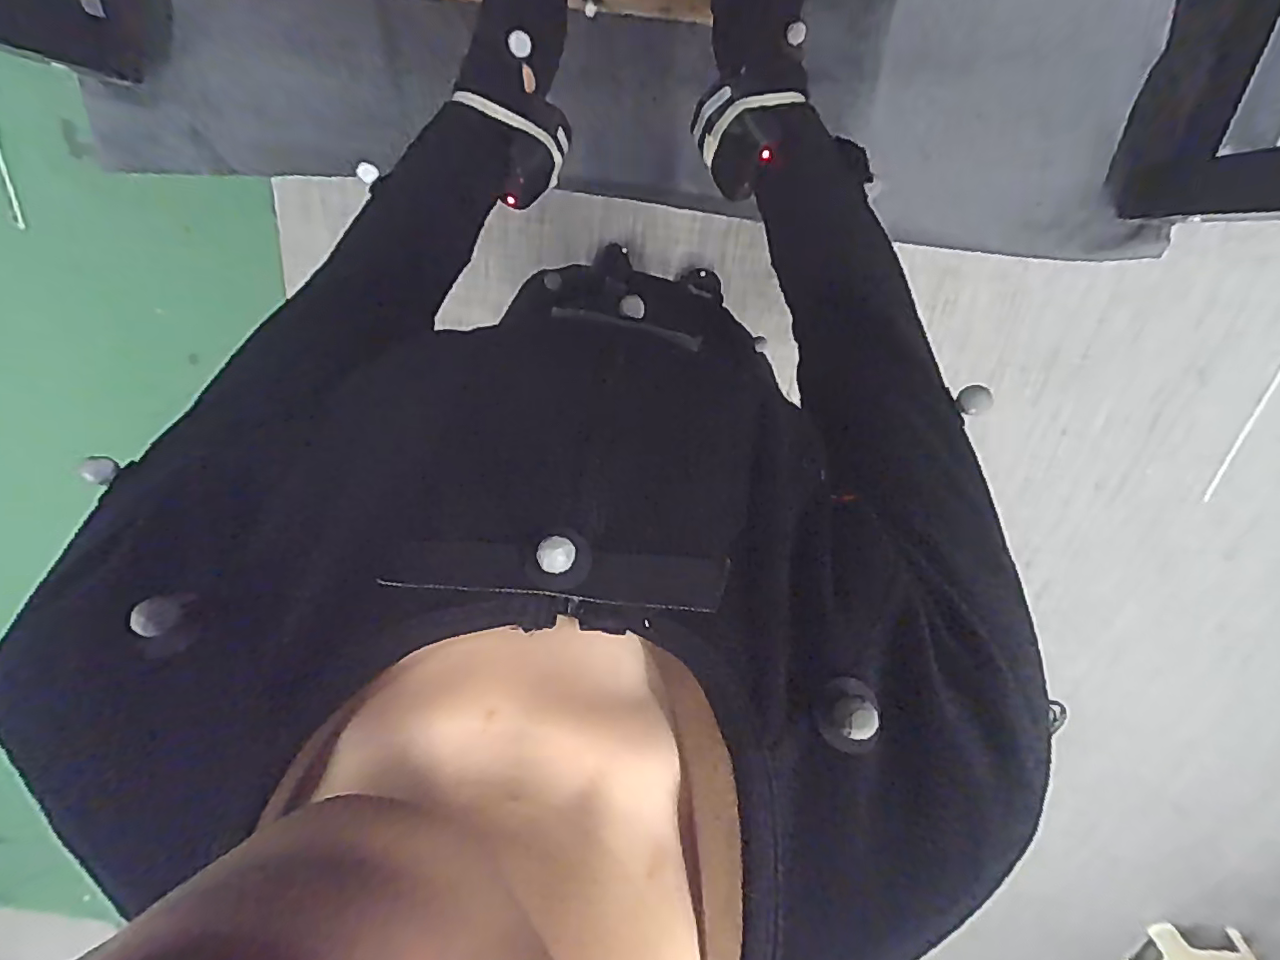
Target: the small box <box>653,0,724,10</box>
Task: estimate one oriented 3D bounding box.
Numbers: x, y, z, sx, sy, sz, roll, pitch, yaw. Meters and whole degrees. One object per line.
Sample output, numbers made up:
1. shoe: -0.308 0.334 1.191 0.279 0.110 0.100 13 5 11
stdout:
1. small box: 0.008 -0.518 0.430 0.168 0.176 0.179 6 112 0
